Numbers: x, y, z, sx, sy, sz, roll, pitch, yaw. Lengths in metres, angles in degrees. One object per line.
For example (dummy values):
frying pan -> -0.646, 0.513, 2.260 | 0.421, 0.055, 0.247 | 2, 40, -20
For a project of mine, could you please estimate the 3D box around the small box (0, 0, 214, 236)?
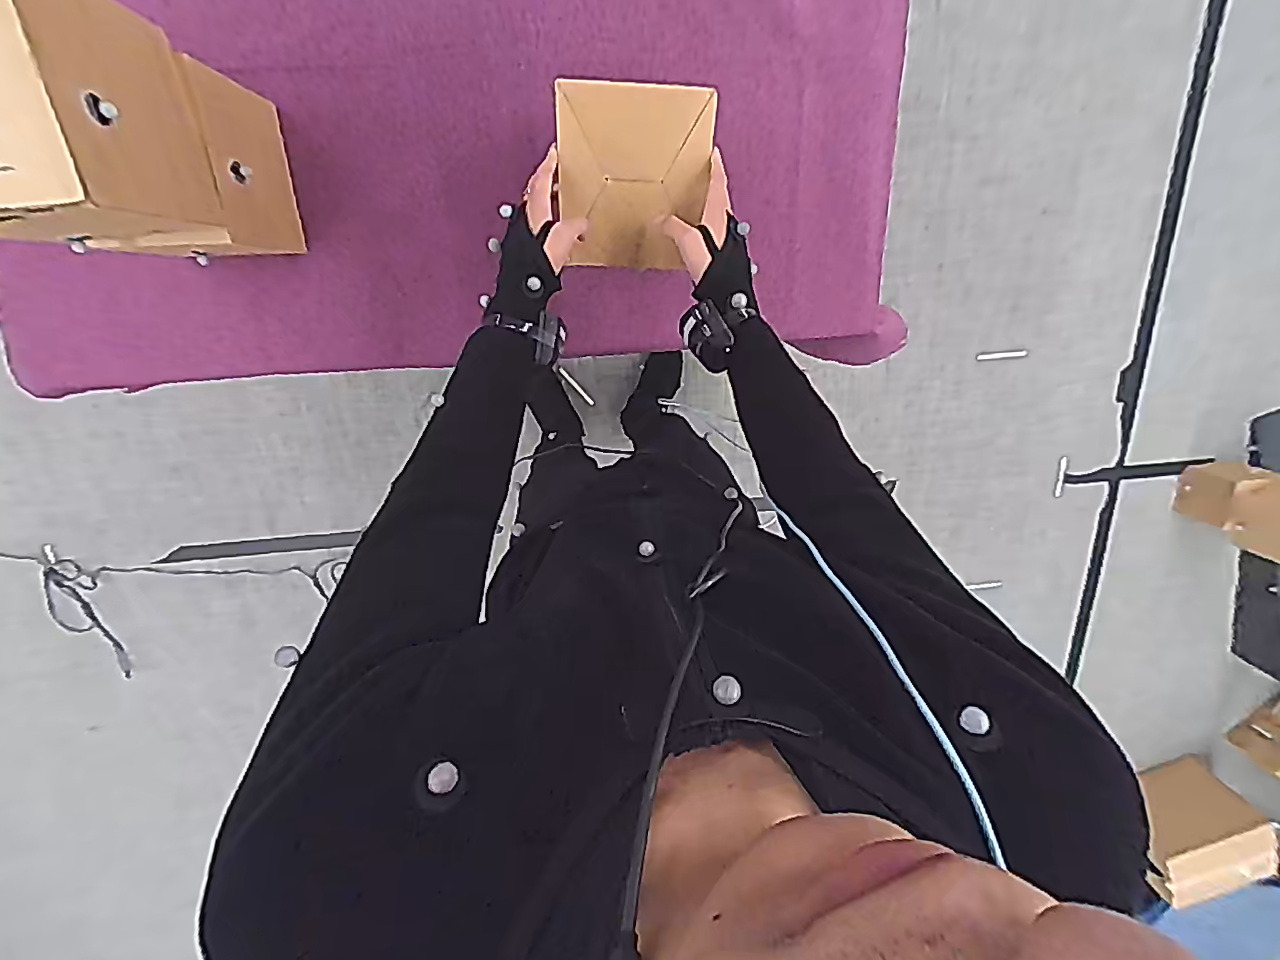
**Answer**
small box -> -0.519, -0.311, 0.461 | 0.168, 0.176, 0.179 | -7, 109, -3

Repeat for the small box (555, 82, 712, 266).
small box -> -0.013, -0.361, 0.654 | 0.168, 0.176, 0.179 | 0, 115, -5

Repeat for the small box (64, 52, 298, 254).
small box -> -0.529, -0.356, 0.619 | 0.168, 0.176, 0.179 | -3, 110, -5
